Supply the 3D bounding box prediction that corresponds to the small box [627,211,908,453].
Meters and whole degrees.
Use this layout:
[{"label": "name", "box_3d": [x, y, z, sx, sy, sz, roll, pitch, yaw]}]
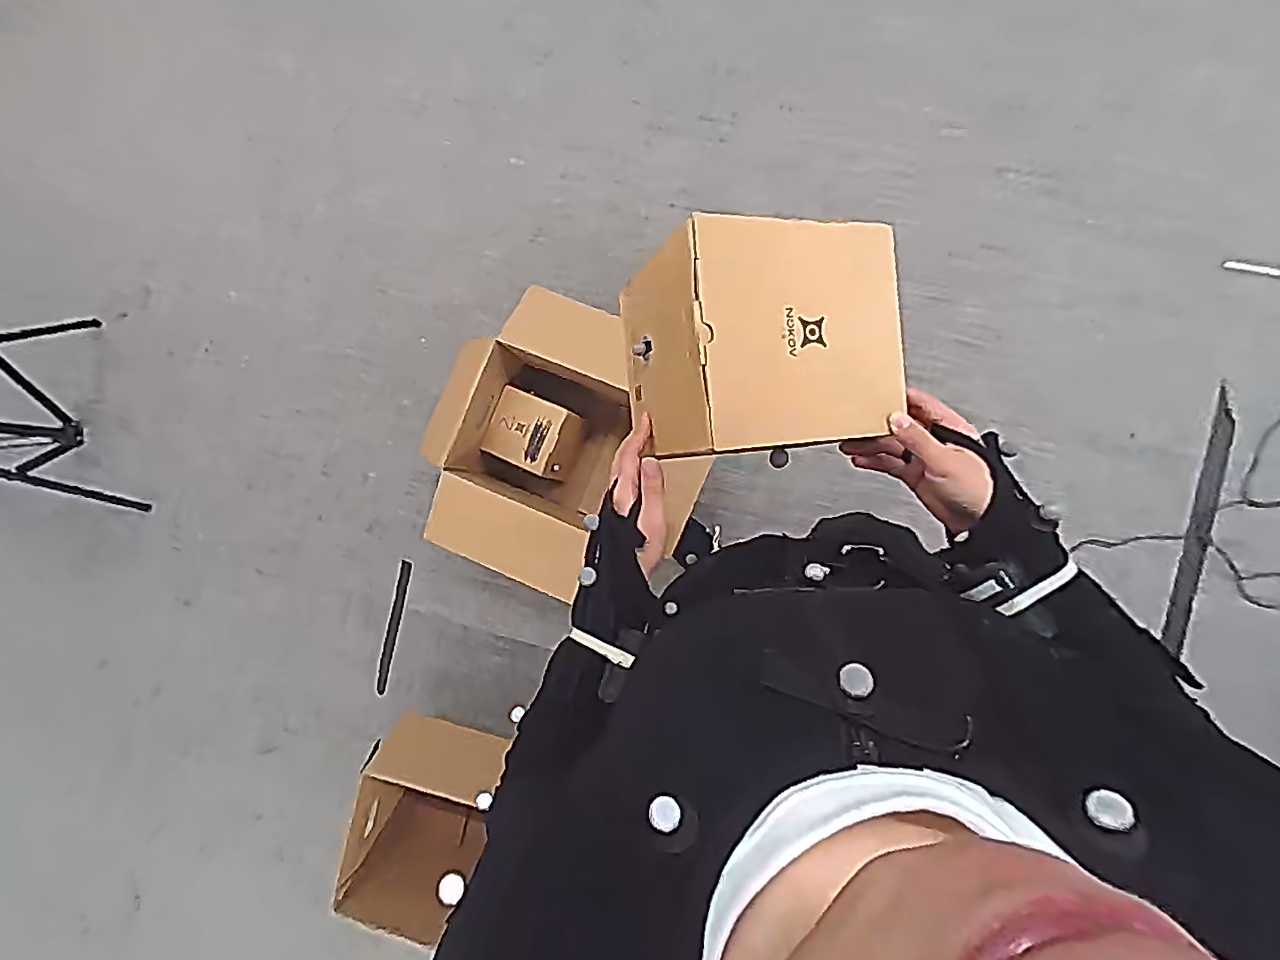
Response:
[{"label": "small box", "box_3d": [0.101, -0.113, 0.477, 0.179, 0.176, 0.168, -6, 92, -18]}]
